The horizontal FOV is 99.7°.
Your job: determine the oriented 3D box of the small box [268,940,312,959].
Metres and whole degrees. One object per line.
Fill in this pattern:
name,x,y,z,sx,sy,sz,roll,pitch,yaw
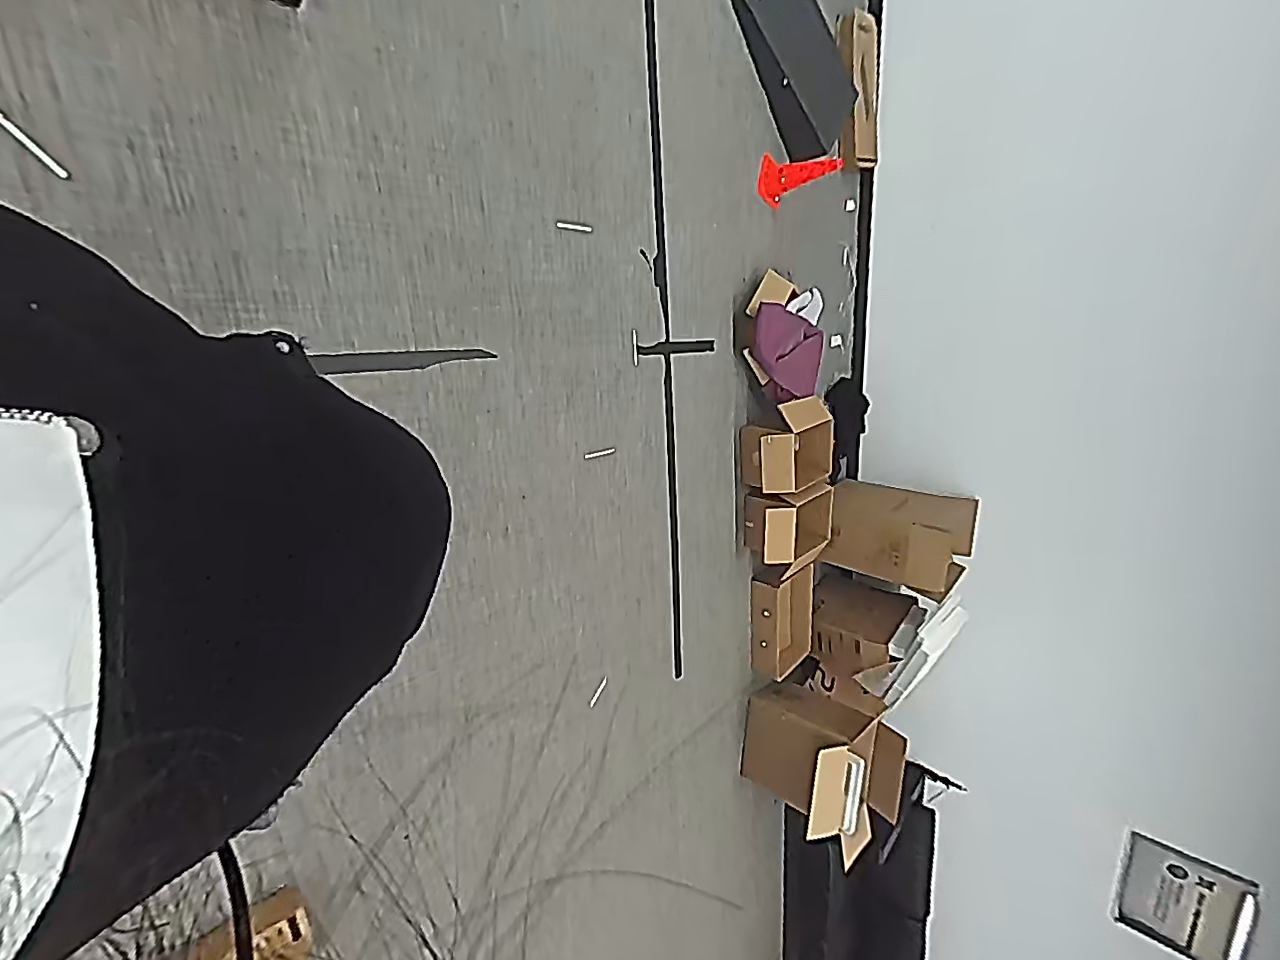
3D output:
small box,-0.878,1.302,1.325,0.168,0.176,0.179,-18,112,-44
